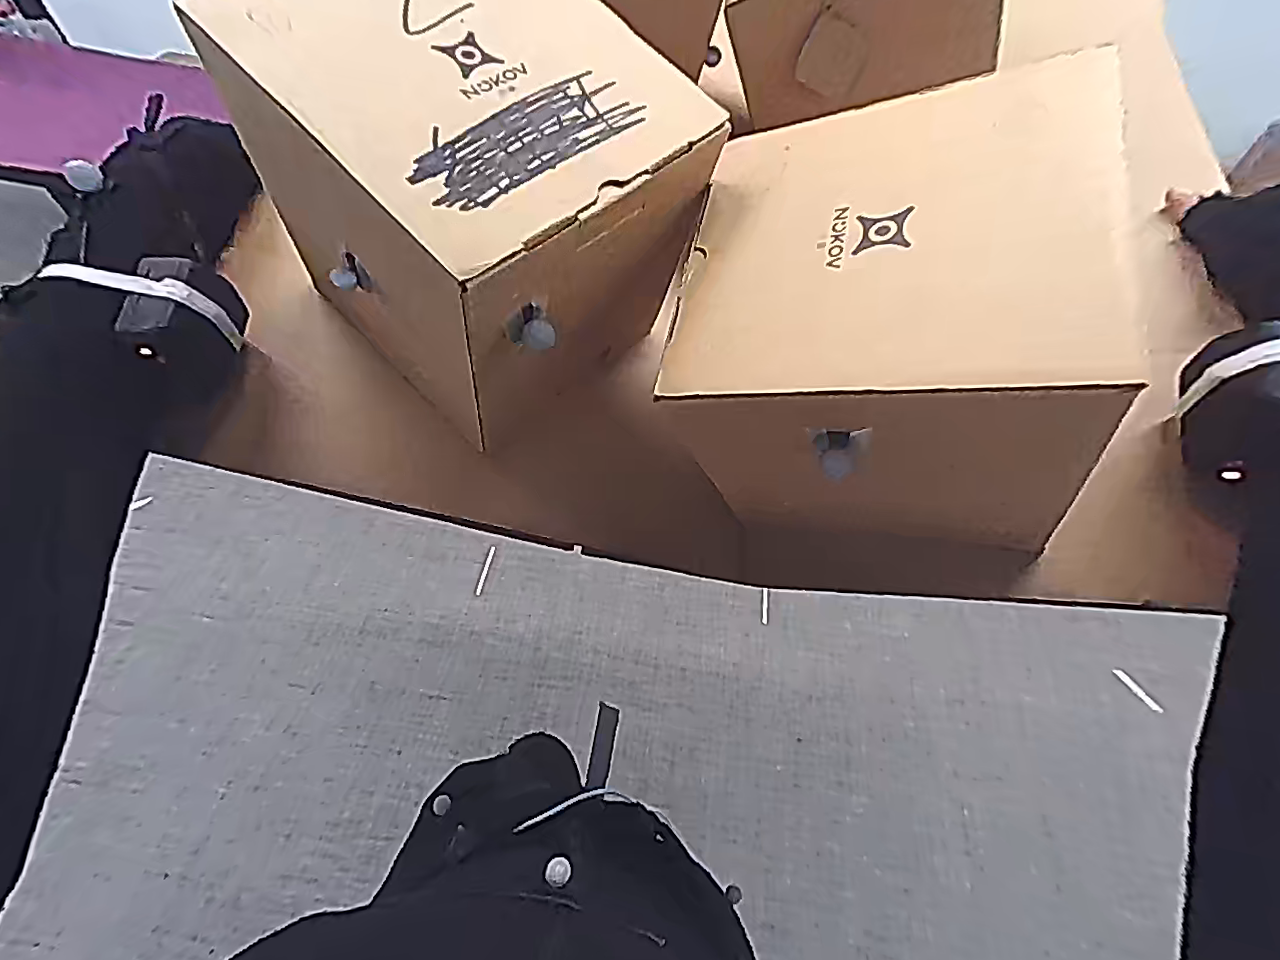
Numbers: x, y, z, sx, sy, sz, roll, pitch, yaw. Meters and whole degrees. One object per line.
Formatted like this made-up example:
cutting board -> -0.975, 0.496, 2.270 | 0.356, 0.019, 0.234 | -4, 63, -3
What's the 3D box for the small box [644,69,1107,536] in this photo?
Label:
small box -> 0.129, -0.075, 0.310 | 0.179, 0.176, 0.168 | 3, 66, 29
